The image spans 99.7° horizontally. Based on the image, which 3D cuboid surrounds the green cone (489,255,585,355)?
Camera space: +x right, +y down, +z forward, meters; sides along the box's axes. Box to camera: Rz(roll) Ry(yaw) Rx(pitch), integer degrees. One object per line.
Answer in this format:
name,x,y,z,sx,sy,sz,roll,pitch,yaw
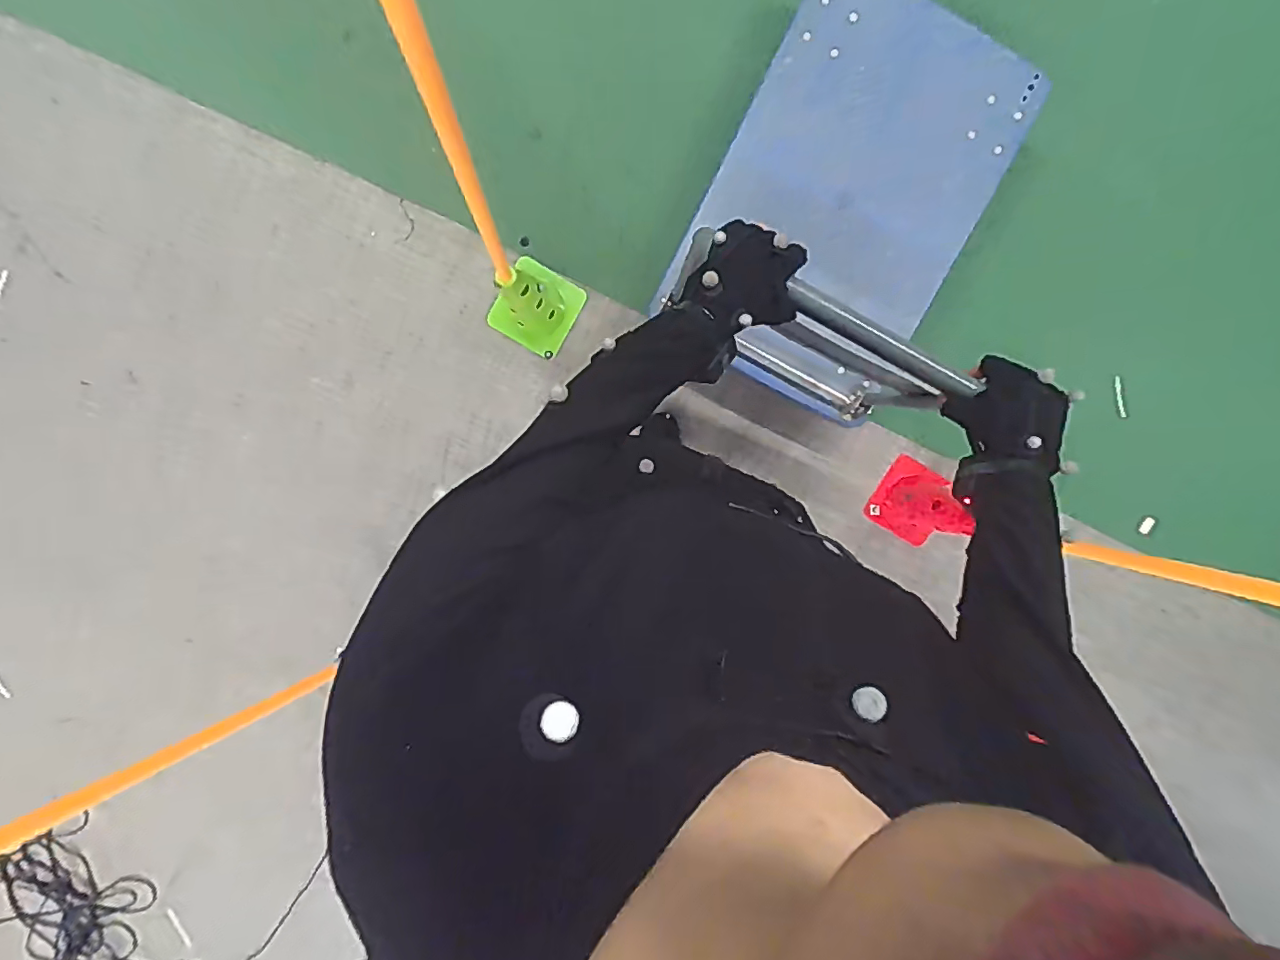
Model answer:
green cone,-0.266,-0.434,1.231,0.202,0.368,0.200,29,95,-4
